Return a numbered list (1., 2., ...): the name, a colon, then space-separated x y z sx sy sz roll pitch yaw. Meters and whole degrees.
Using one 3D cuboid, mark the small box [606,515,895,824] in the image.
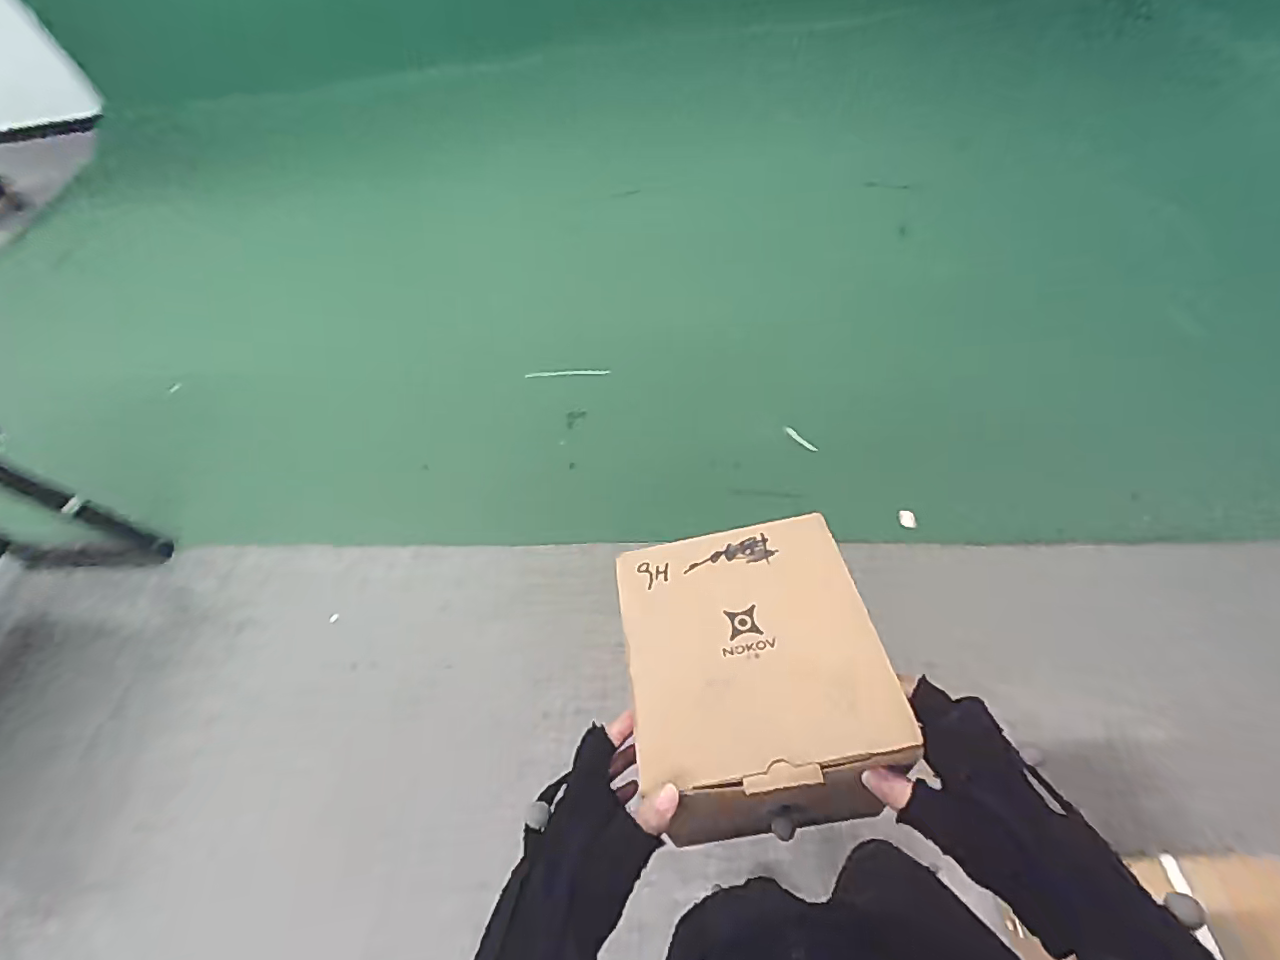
1. small box: 0.078 0.159 0.436 0.168 0.176 0.179 -13 48 2
